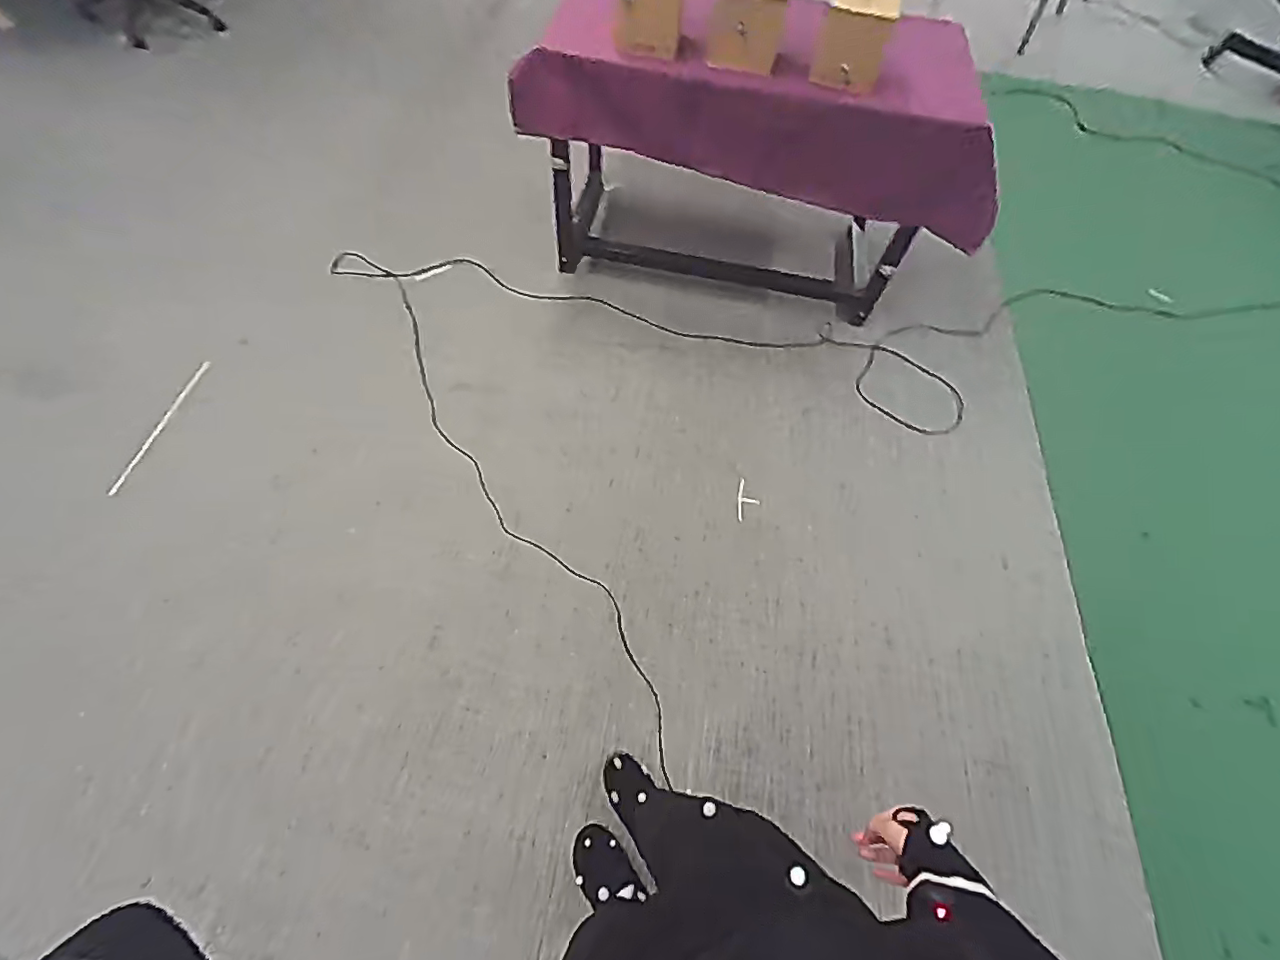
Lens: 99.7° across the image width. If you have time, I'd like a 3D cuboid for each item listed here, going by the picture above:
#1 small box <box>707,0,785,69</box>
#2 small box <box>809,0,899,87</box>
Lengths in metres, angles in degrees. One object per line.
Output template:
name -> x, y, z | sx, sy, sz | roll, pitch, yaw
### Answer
small box -> 0.275, -1.203, 1.399 | 0.179, 0.176, 0.168 | 9, 61, 1
small box -> 0.548, -1.157, 1.391 | 0.168, 0.176, 0.179 | 15, 61, 5
